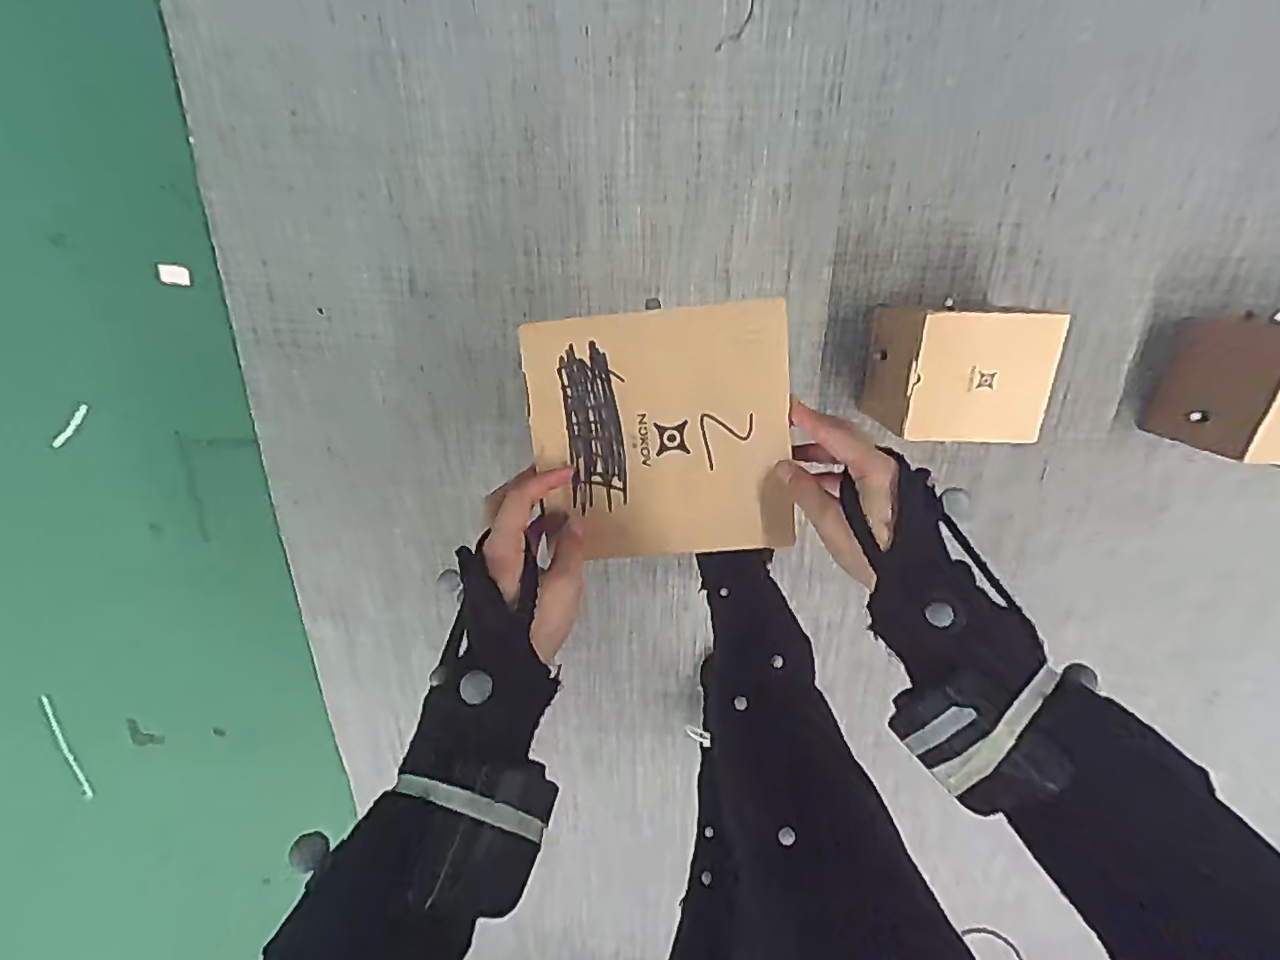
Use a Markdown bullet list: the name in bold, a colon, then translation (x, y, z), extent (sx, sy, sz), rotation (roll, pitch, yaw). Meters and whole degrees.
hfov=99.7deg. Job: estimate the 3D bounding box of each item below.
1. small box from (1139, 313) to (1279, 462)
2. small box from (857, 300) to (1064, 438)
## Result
- **small box**: translation (0.861, -0.130, 0.750), extent (0.168, 0.176, 0.179), rotation (5, 110, 0)
- **small box**: translation (0.431, -0.163, 0.760), extent (0.179, 0.176, 0.168), rotation (2, 111, 3)
